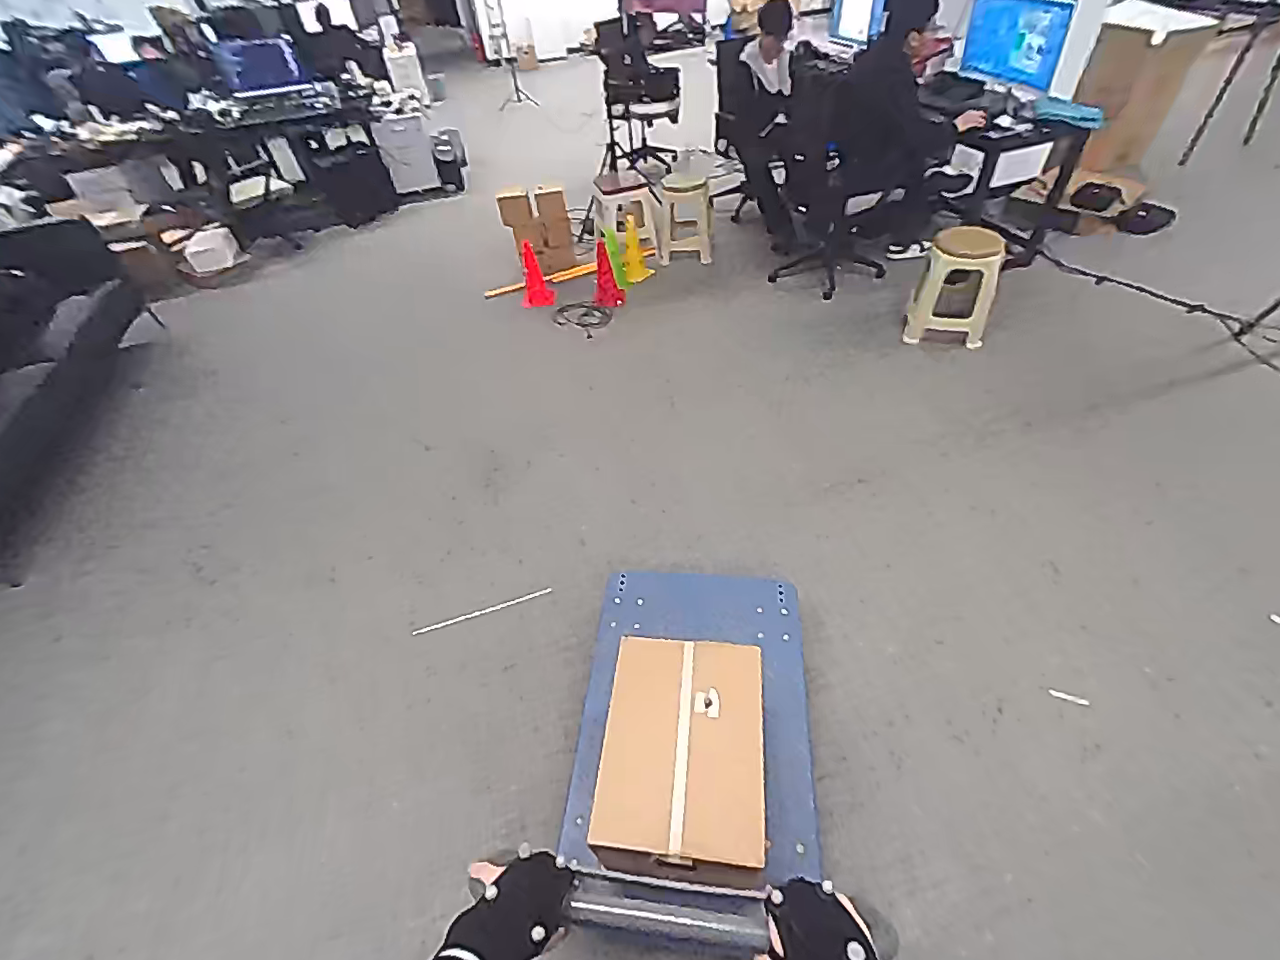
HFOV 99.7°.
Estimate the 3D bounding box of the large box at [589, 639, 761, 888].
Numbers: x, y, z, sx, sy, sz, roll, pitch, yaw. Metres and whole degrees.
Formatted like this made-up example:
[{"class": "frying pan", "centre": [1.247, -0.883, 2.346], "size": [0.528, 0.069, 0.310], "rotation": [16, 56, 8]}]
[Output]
[{"class": "large box", "centre": [0.095, 0.618, 1.195], "size": [0.320, 0.320, 0.408], "rotation": [3, 46, 9]}]
